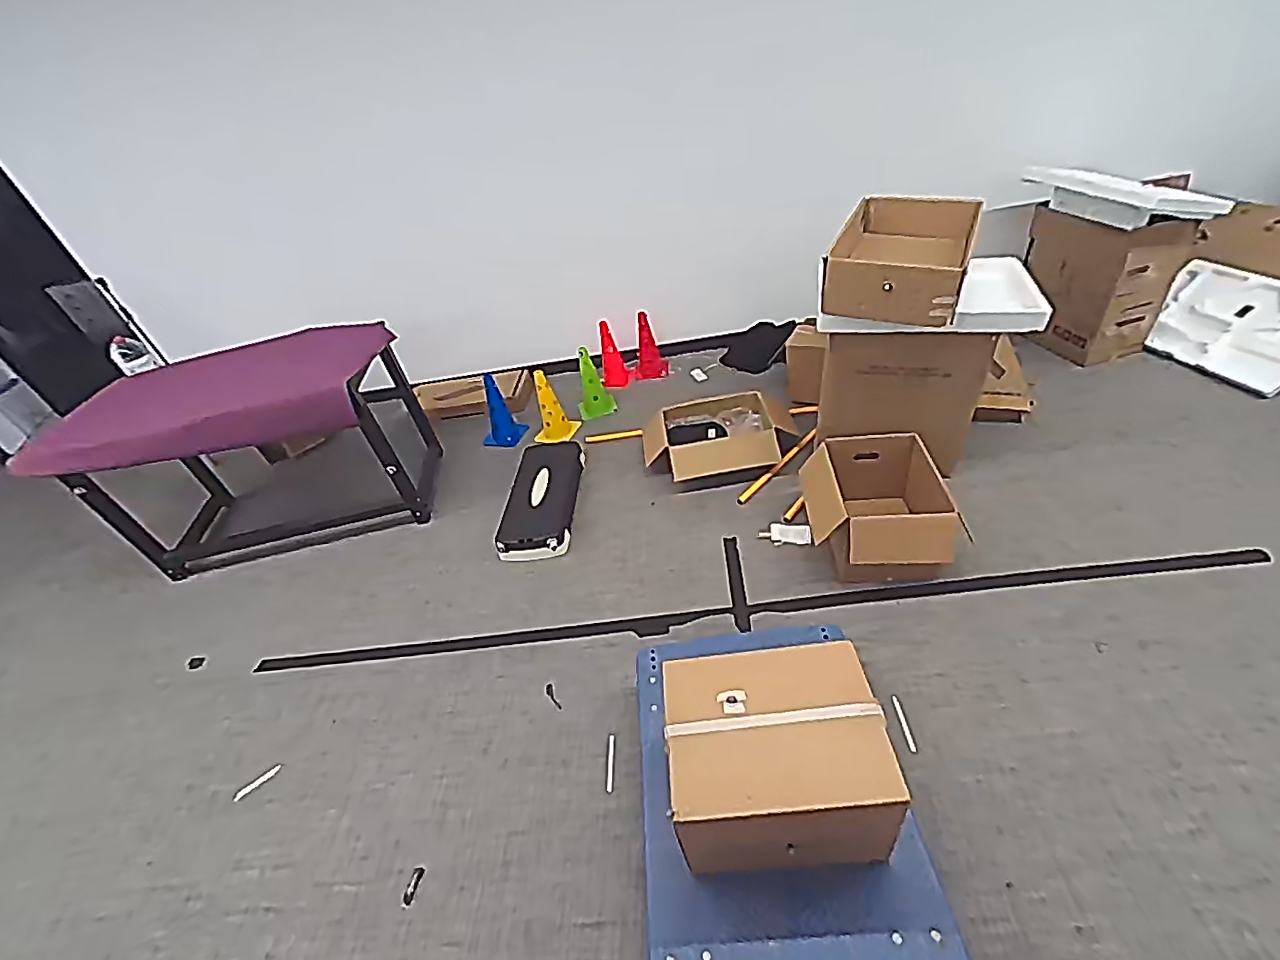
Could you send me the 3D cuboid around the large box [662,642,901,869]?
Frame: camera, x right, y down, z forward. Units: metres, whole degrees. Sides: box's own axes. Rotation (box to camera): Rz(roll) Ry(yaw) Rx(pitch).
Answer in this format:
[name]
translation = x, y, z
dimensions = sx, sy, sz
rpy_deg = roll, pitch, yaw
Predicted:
[large box]
translation = 0.277, 0.587, 1.149
dimensions = 0.408, 0.320, 0.320
rpy_deg = -9, 38, 5
